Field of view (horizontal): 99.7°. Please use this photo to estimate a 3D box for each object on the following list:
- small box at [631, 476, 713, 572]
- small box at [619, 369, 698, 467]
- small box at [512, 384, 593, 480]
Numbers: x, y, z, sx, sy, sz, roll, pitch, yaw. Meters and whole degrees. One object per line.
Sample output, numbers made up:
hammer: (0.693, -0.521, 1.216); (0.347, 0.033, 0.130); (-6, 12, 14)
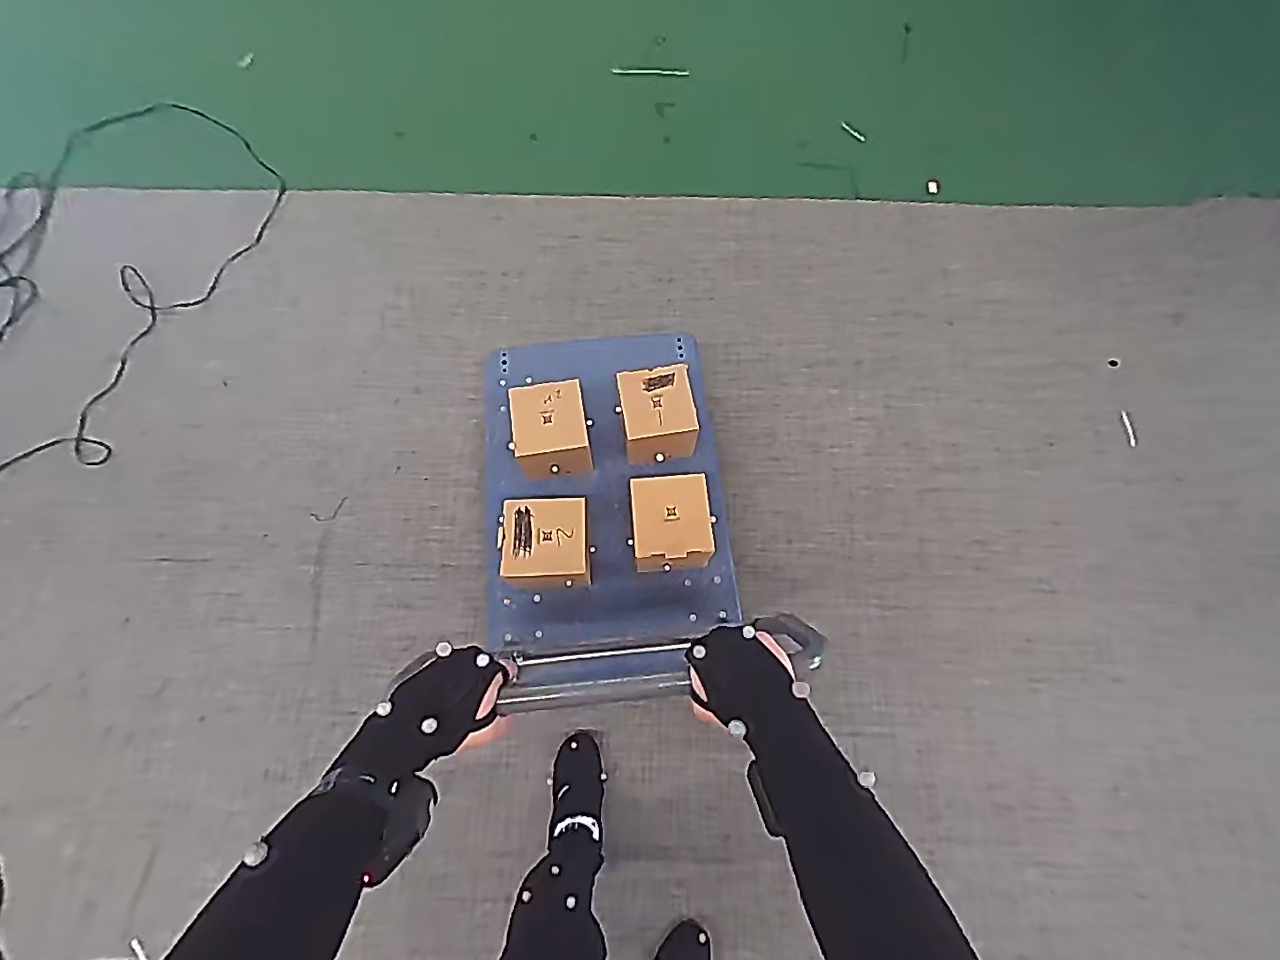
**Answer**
small box: (0.067, 0.105, 1.243); (0.168, 0.176, 0.179); (-5, 70, -2)
small box: (0.039, -0.149, 1.334); (0.168, 0.176, 0.179); (-9, 71, -3)
small box: (-0.209, -0.109, 1.318); (0.168, 0.176, 0.179); (-8, 70, -4)
